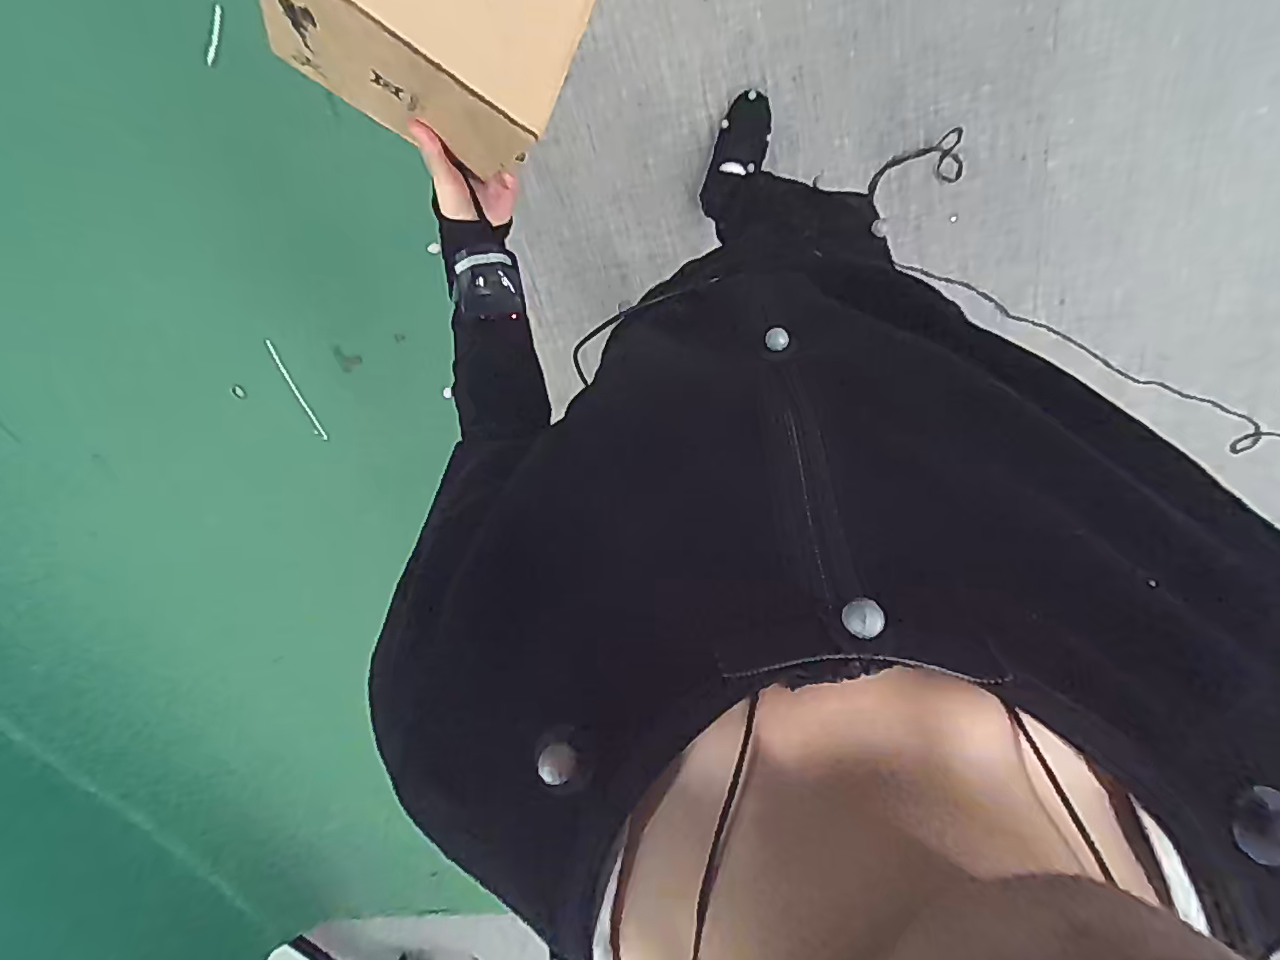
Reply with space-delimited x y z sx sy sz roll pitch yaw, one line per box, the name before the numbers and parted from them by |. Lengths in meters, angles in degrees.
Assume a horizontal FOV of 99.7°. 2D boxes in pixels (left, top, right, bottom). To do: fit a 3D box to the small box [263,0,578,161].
small box | -0.140 -0.370 0.377 0.179 0.168 0.176 20 93 -33
